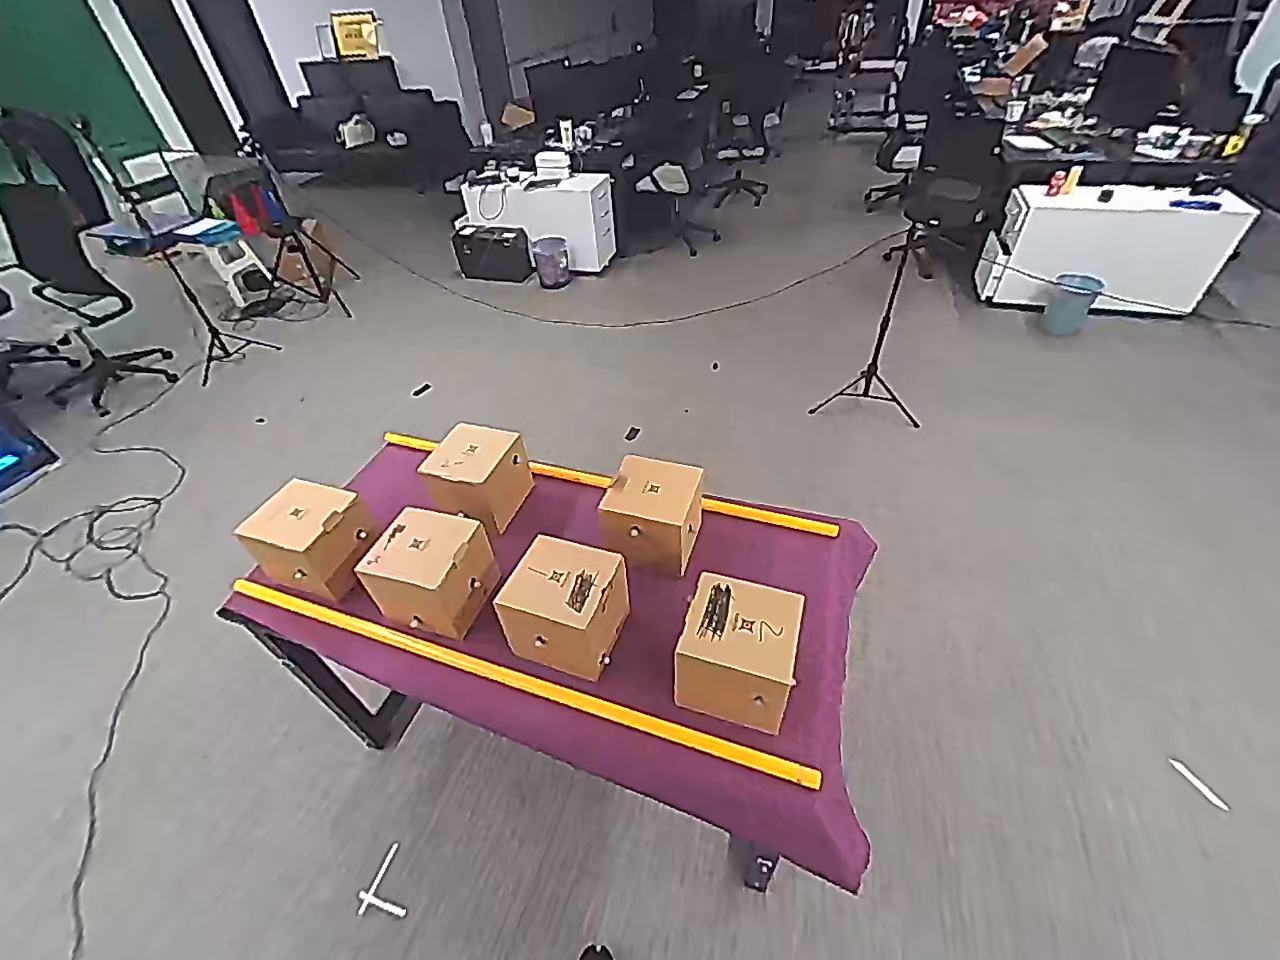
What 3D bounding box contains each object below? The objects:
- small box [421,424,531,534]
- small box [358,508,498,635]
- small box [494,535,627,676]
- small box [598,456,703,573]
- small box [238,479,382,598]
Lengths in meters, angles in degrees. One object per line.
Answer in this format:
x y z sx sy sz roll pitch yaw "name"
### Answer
-0.369 -0.003 1.263 0.168 0.176 0.179 11 47 16 "small box"
-0.404 0.183 1.068 0.179 0.176 0.168 11 45 14 "small box"
-0.133 0.232 0.992 0.179 0.176 0.168 12 44 18 "small box"
0.030 0.076 1.147 0.179 0.176 0.168 10 46 17 "small box"
-0.683 0.126 1.148 0.179 0.176 0.168 12 45 14 "small box"
